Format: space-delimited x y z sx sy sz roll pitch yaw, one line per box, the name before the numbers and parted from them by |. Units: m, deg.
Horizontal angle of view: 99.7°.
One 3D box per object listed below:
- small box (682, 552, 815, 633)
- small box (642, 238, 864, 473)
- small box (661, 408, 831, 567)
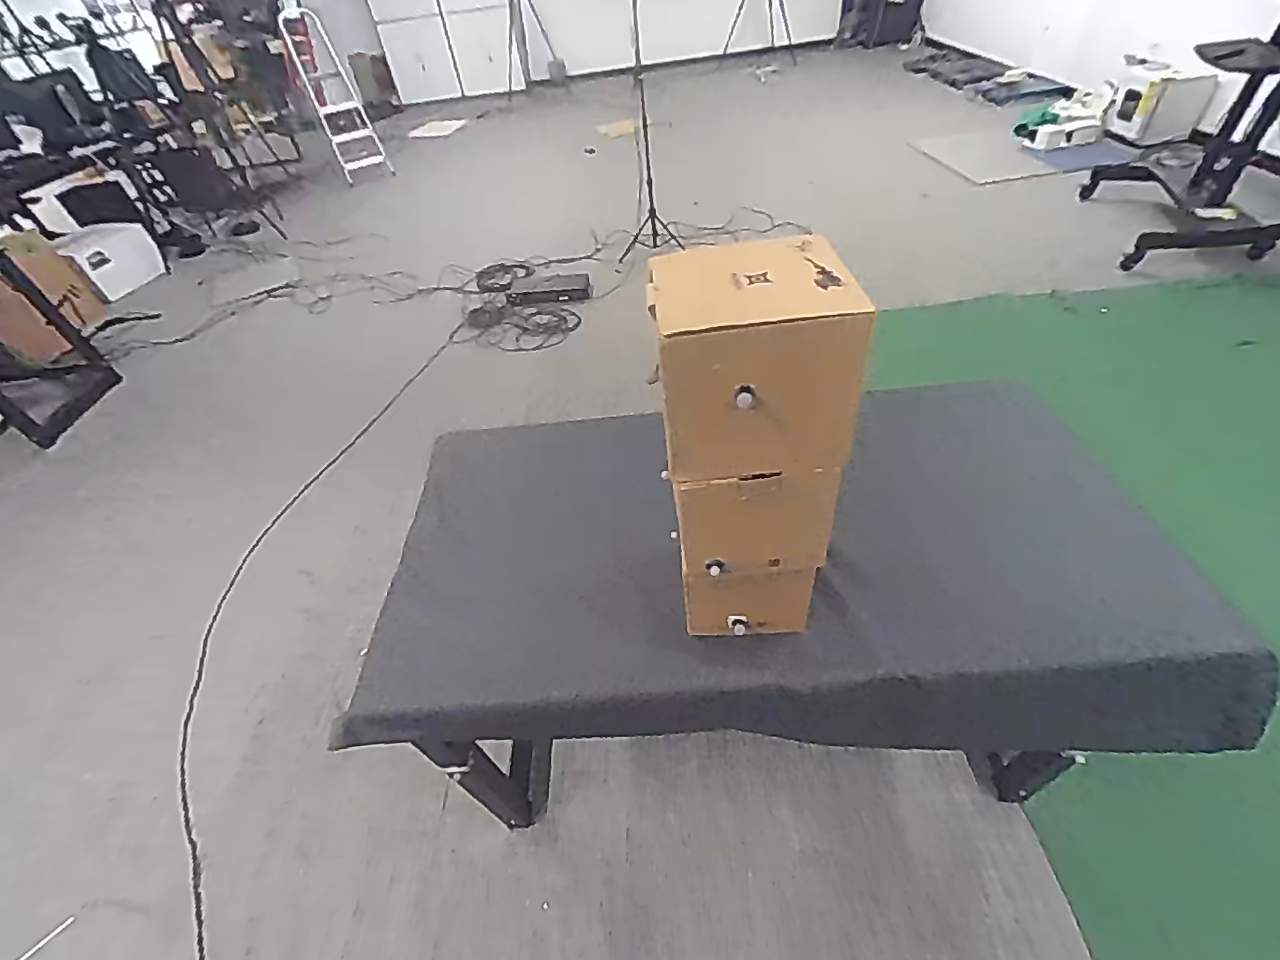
small box | 0.145 0.099 0.784 0.168 0.176 0.179 -6 46 5
small box | 0.103 -0.123 0.550 0.179 0.176 0.168 -8 42 2
small box | 0.121 -0.008 0.662 0.168 0.176 0.179 -8 43 3
